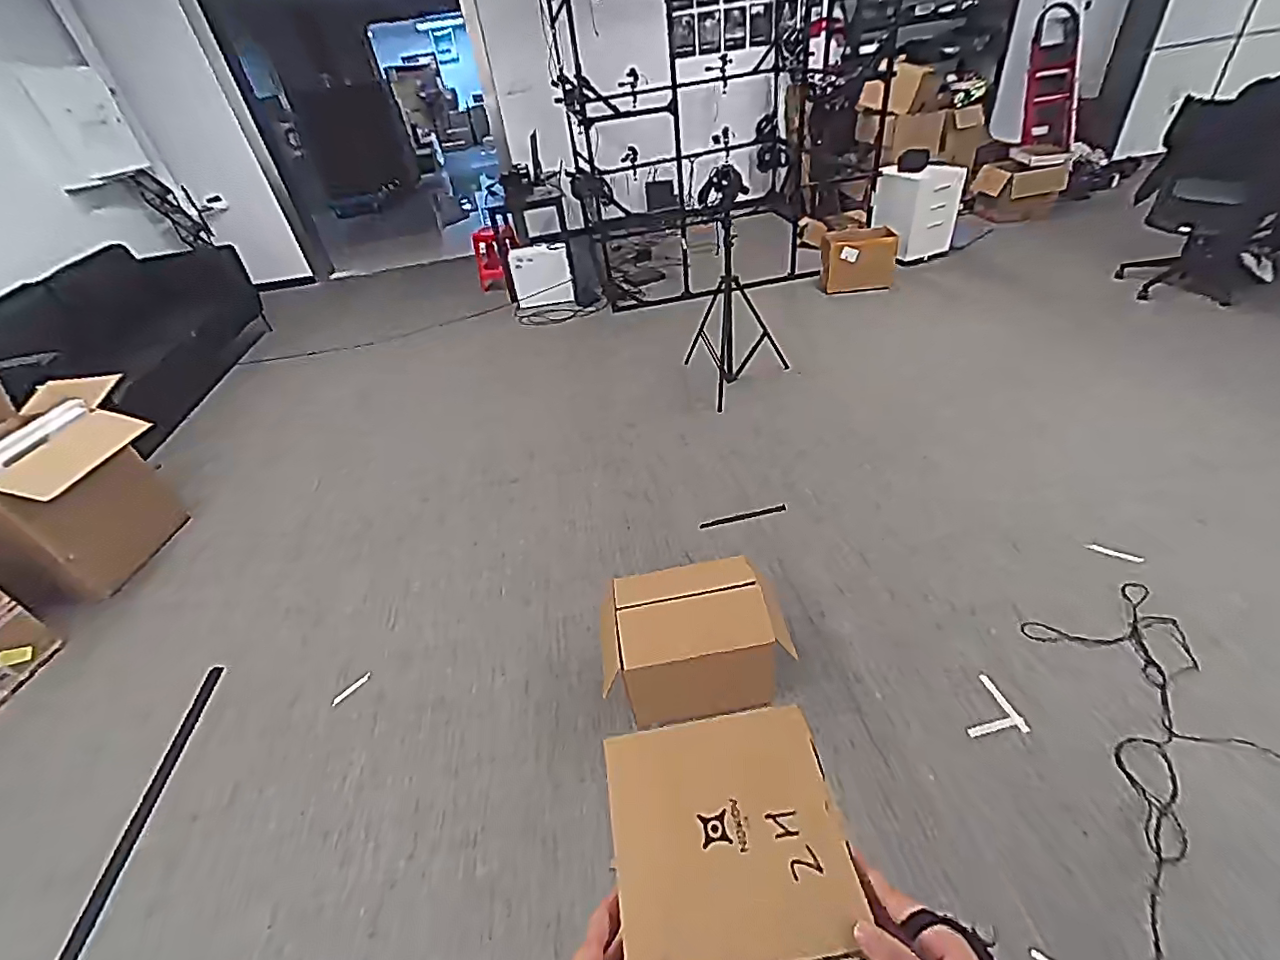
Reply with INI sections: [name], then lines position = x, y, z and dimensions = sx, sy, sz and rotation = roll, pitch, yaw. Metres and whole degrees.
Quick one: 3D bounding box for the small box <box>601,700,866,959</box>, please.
[small box]
position = 0.070, 0.322, 0.480
dimensions = 0.179, 0.176, 0.168
rotation = -9, 47, -2
